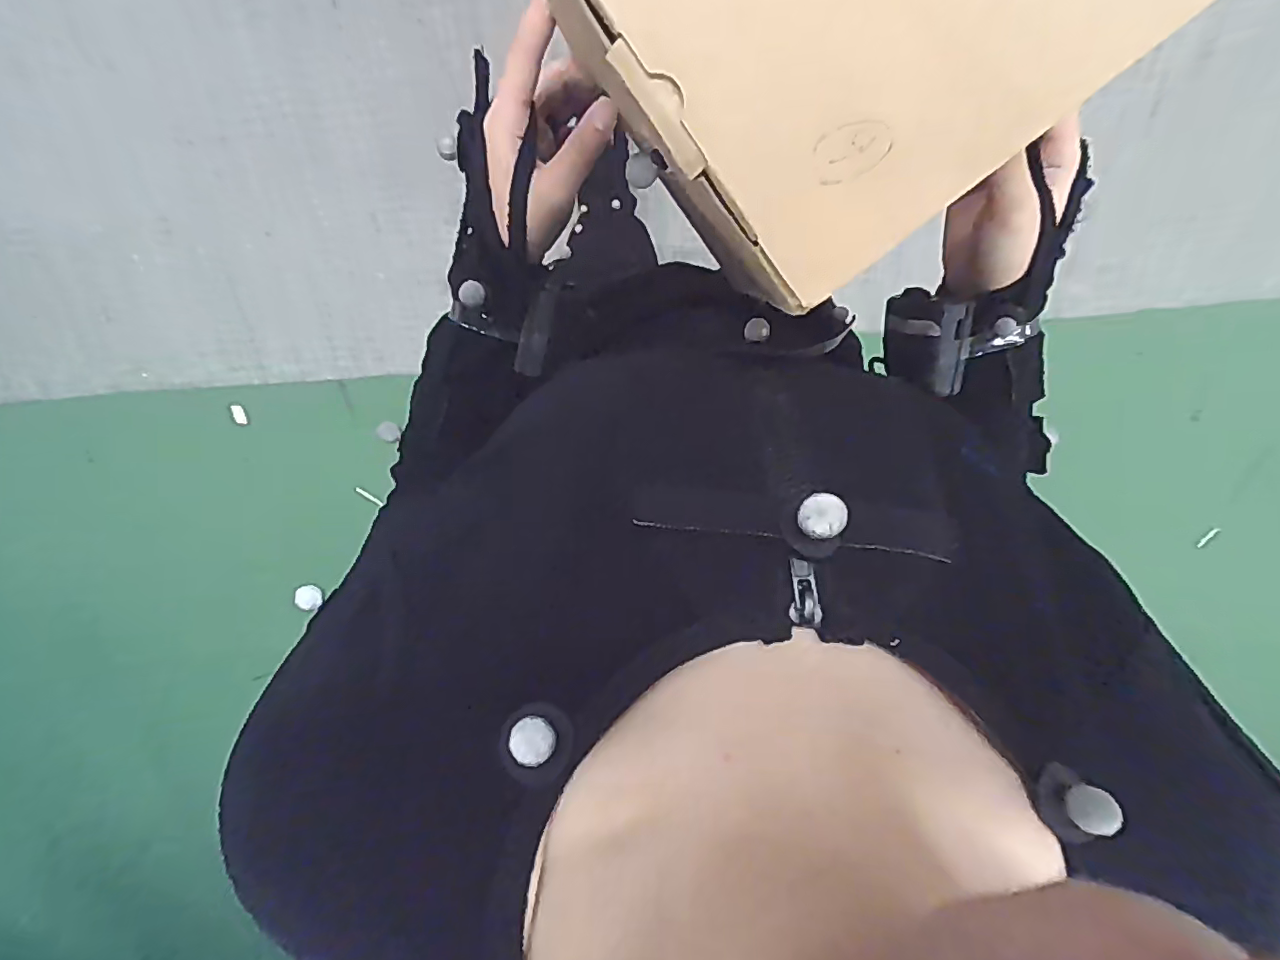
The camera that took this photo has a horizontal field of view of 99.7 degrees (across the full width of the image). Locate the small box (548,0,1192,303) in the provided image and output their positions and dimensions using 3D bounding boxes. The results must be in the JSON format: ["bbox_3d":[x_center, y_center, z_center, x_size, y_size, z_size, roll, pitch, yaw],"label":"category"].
[{"bbox_3d":[0.071,-0.198,0.223,0.179,0.176,0.168,-36,106,16],"label":"small box"}]
